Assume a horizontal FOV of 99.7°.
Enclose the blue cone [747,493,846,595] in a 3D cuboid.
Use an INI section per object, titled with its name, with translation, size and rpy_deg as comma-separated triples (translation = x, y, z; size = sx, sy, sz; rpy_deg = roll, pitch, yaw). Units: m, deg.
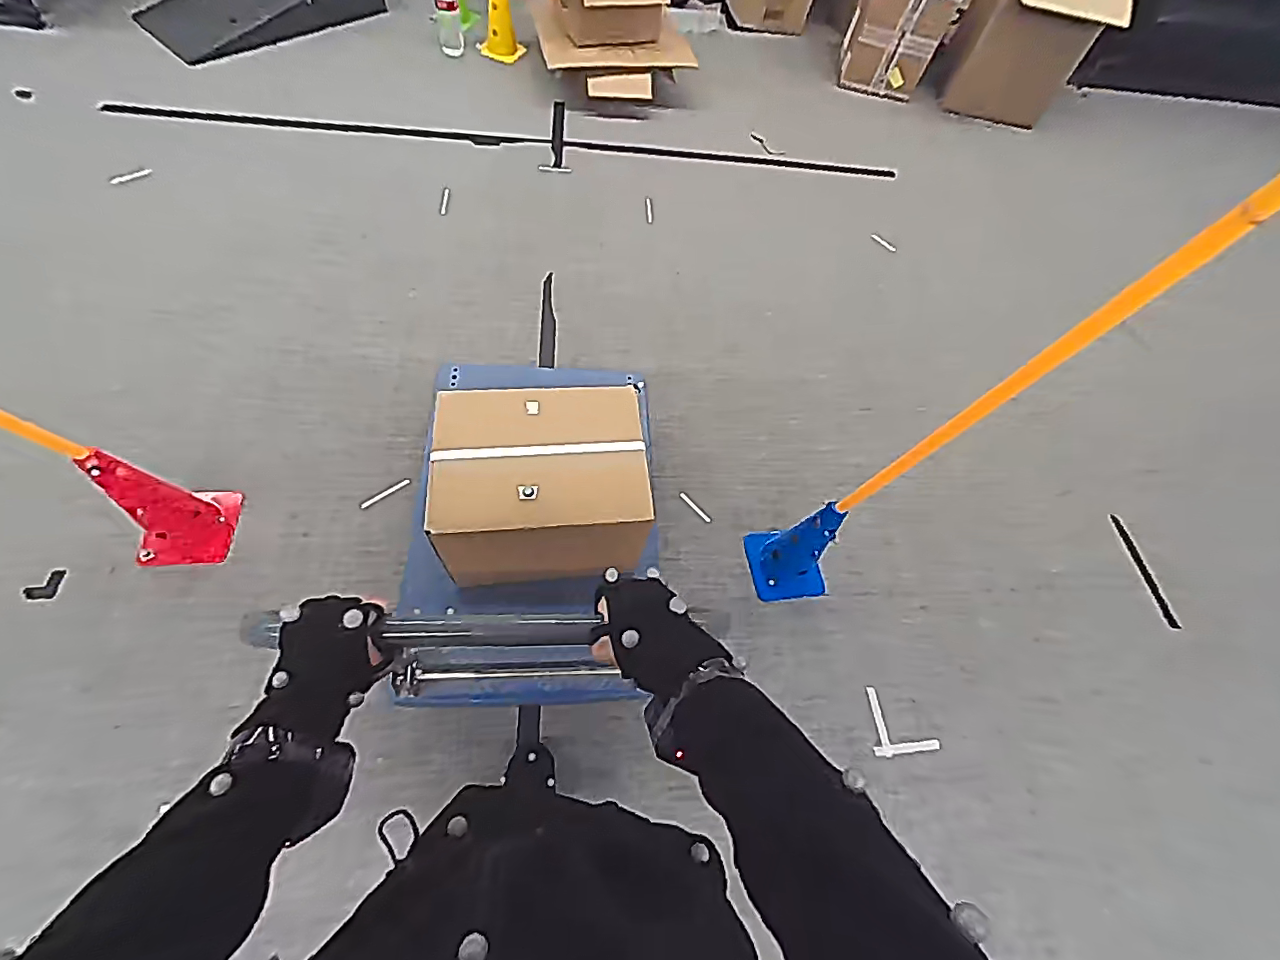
[blue cone]
translation = 0.428, 0.146, 1.374
size = 0.193, 0.380, 0.192
rpy_deg = -3, 60, -10
